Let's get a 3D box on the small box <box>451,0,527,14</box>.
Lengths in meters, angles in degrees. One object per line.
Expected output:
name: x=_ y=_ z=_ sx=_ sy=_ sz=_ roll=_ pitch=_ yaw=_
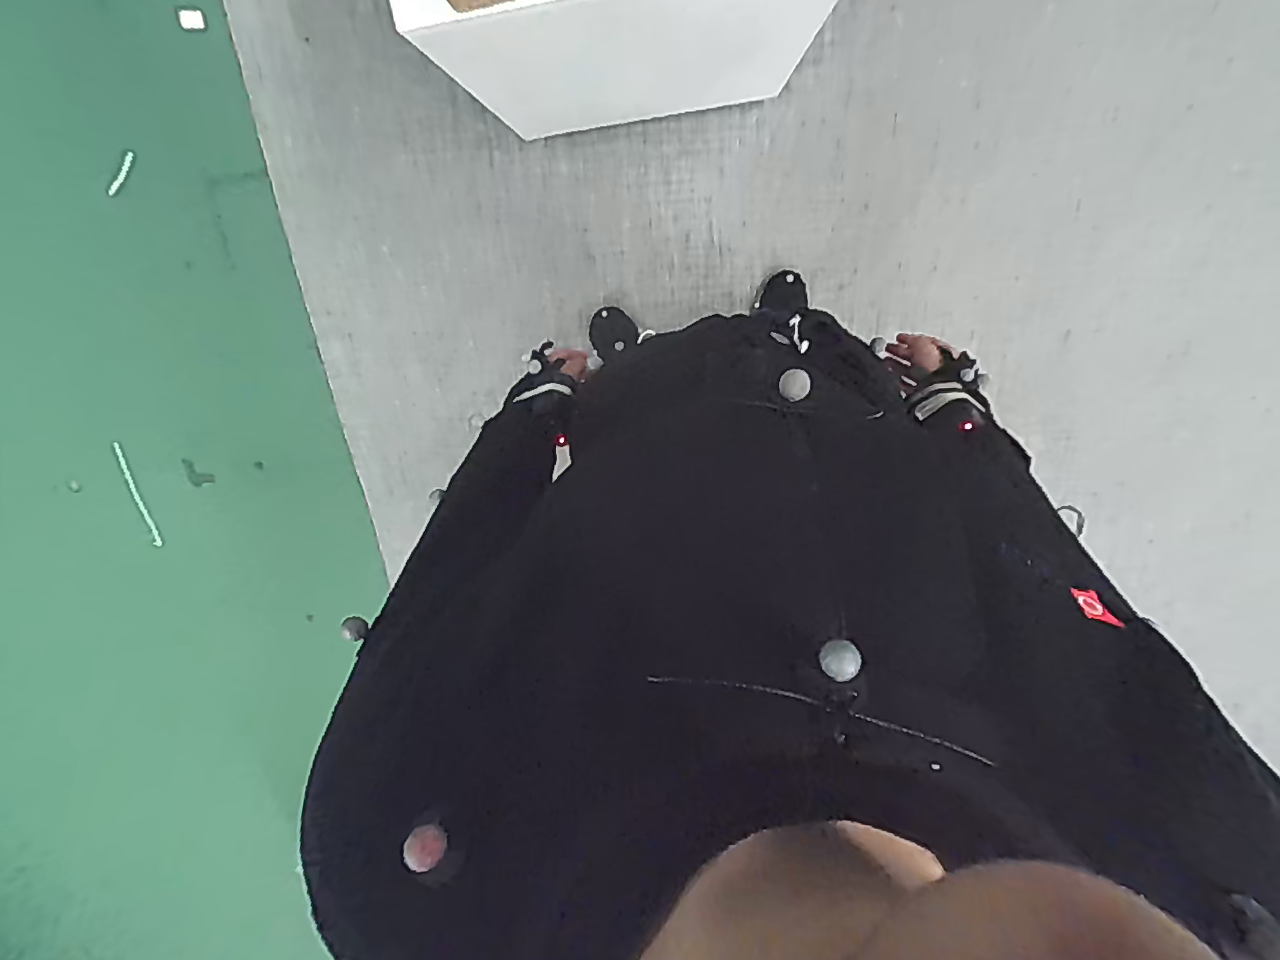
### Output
small box: x=-0.134 y=-0.549 z=0.456 sx=0.168 sy=0.176 sz=0.179 roll=-8 pitch=110 yaw=5
